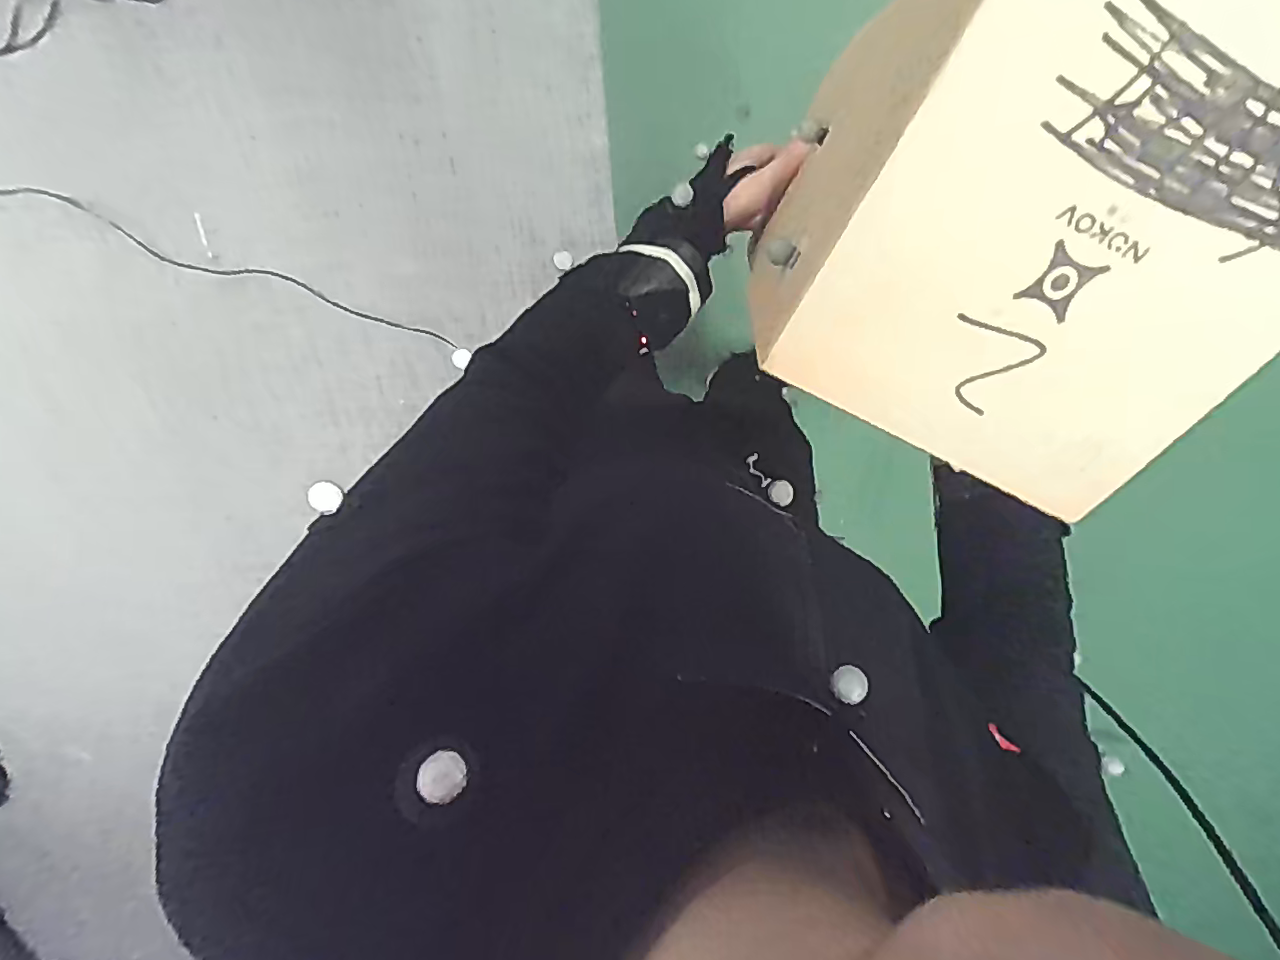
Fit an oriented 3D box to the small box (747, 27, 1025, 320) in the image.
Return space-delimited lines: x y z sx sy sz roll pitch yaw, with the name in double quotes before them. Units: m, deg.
"small box" 0.217 -0.295 0.540 0.168 0.176 0.179 27 122 -7
